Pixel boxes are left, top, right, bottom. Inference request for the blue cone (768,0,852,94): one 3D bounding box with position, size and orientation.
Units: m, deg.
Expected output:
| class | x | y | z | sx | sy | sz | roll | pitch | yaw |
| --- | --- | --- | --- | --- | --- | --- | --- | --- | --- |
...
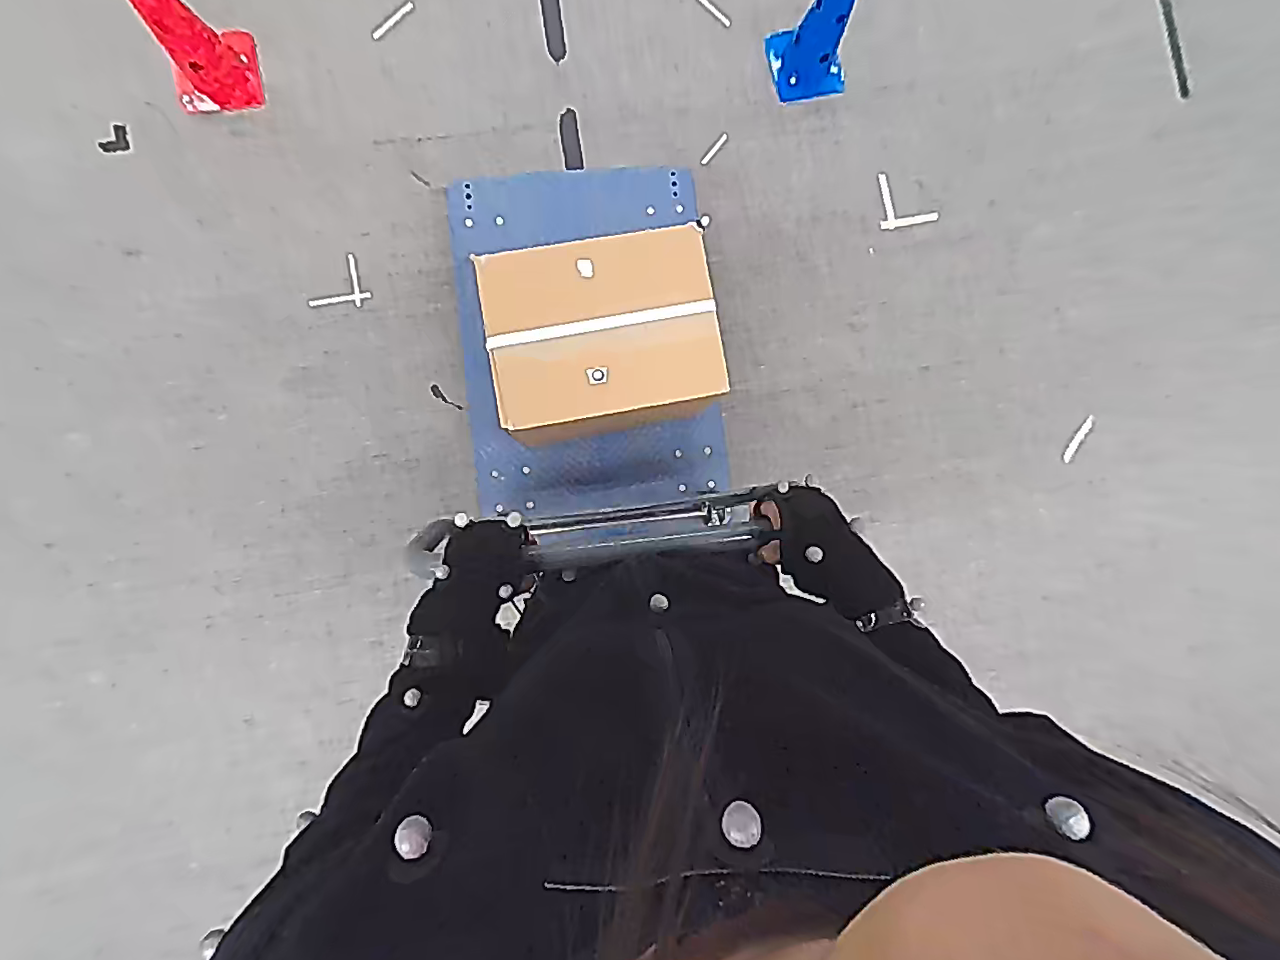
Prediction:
| class | x | y | z | sx | sy | sz | roll | pitch | yaw |
| --- | --- | --- | --- | --- | --- | --- | --- | --- | --- |
| blue cone | 0.478 | -1.181 | 1.341 | 0.193 | 0.380 | 0.192 | -13 | 88 | -6 |
